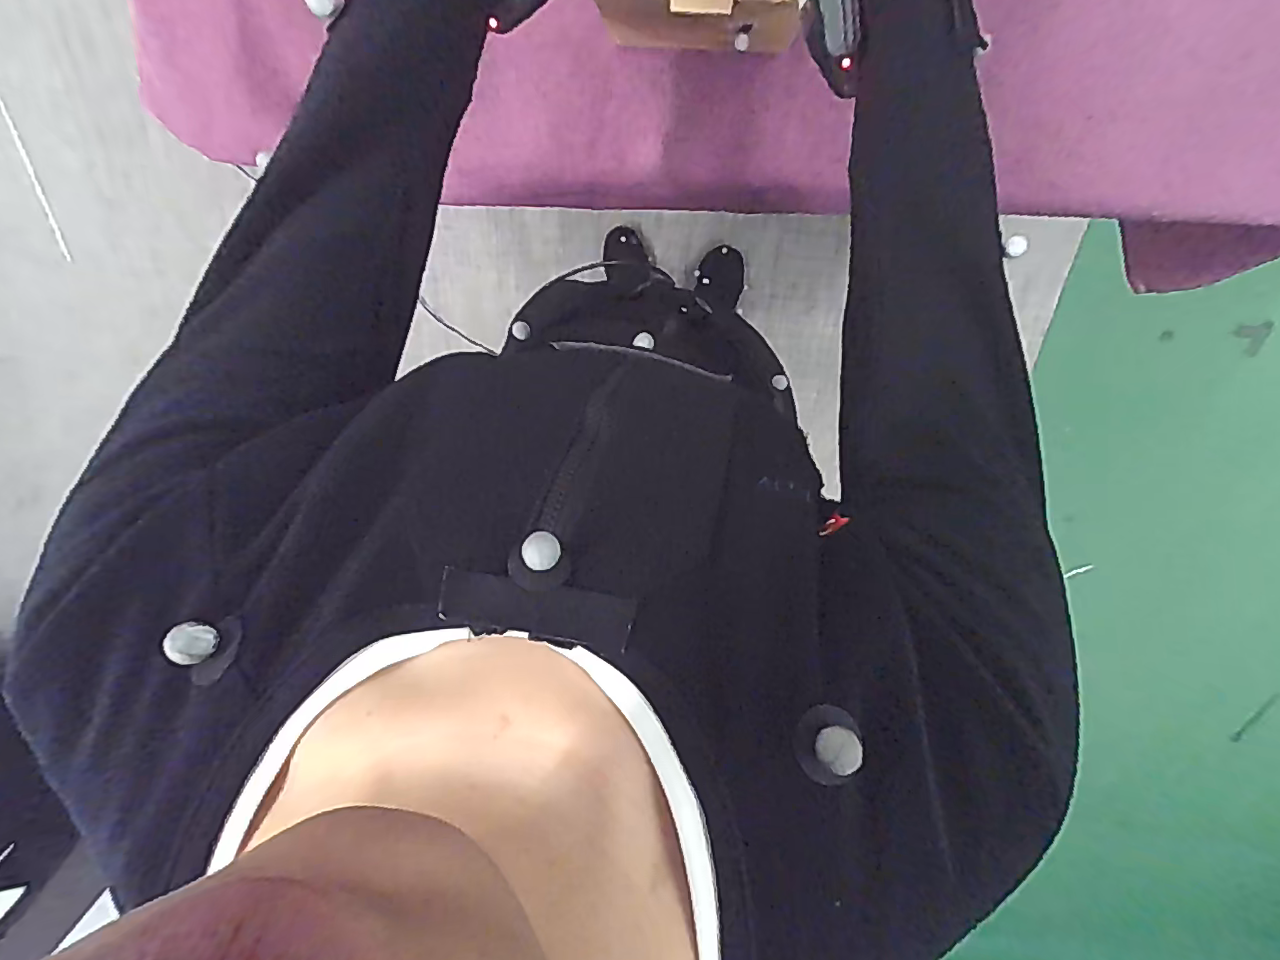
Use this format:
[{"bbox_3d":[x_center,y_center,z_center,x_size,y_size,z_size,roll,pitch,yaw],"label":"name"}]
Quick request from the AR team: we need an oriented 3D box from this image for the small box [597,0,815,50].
[{"bbox_3d":[0.060,-0.456,0.414,0.168,0.176,0.179,6,118,3],"label":"small box"}]
